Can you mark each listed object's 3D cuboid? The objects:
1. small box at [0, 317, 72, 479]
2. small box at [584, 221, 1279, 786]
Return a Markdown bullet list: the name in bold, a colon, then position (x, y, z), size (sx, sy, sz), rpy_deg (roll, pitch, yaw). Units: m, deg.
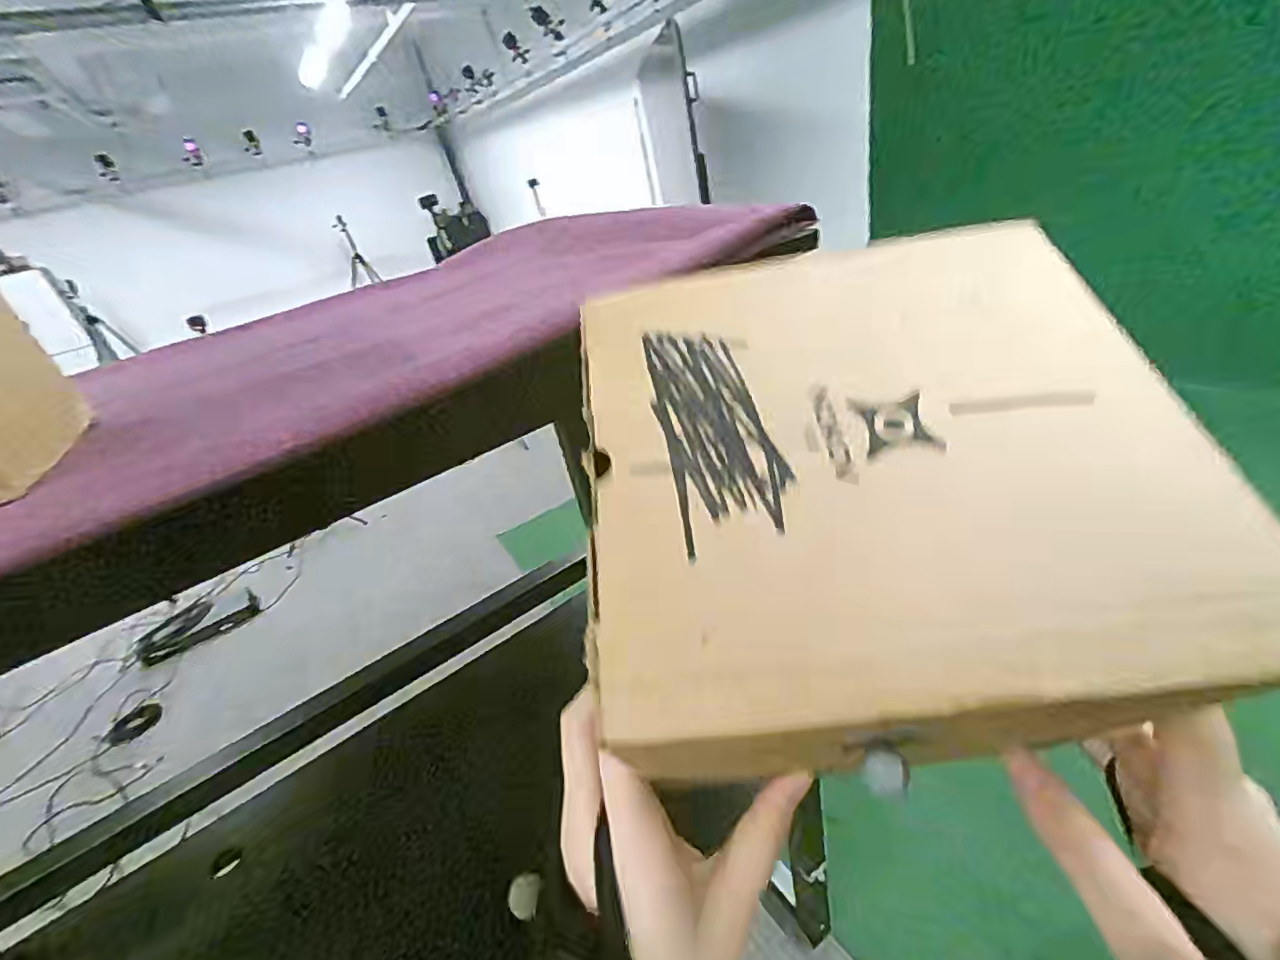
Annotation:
- **small box**: position (-0.458, -0.057, 0.274), size (0.168, 0.176, 0.179), rpy_deg (-27, 32, -23)
- **small box**: position (0.080, 0.026, 0.230), size (0.179, 0.176, 0.168), rpy_deg (-7, 57, 4)
